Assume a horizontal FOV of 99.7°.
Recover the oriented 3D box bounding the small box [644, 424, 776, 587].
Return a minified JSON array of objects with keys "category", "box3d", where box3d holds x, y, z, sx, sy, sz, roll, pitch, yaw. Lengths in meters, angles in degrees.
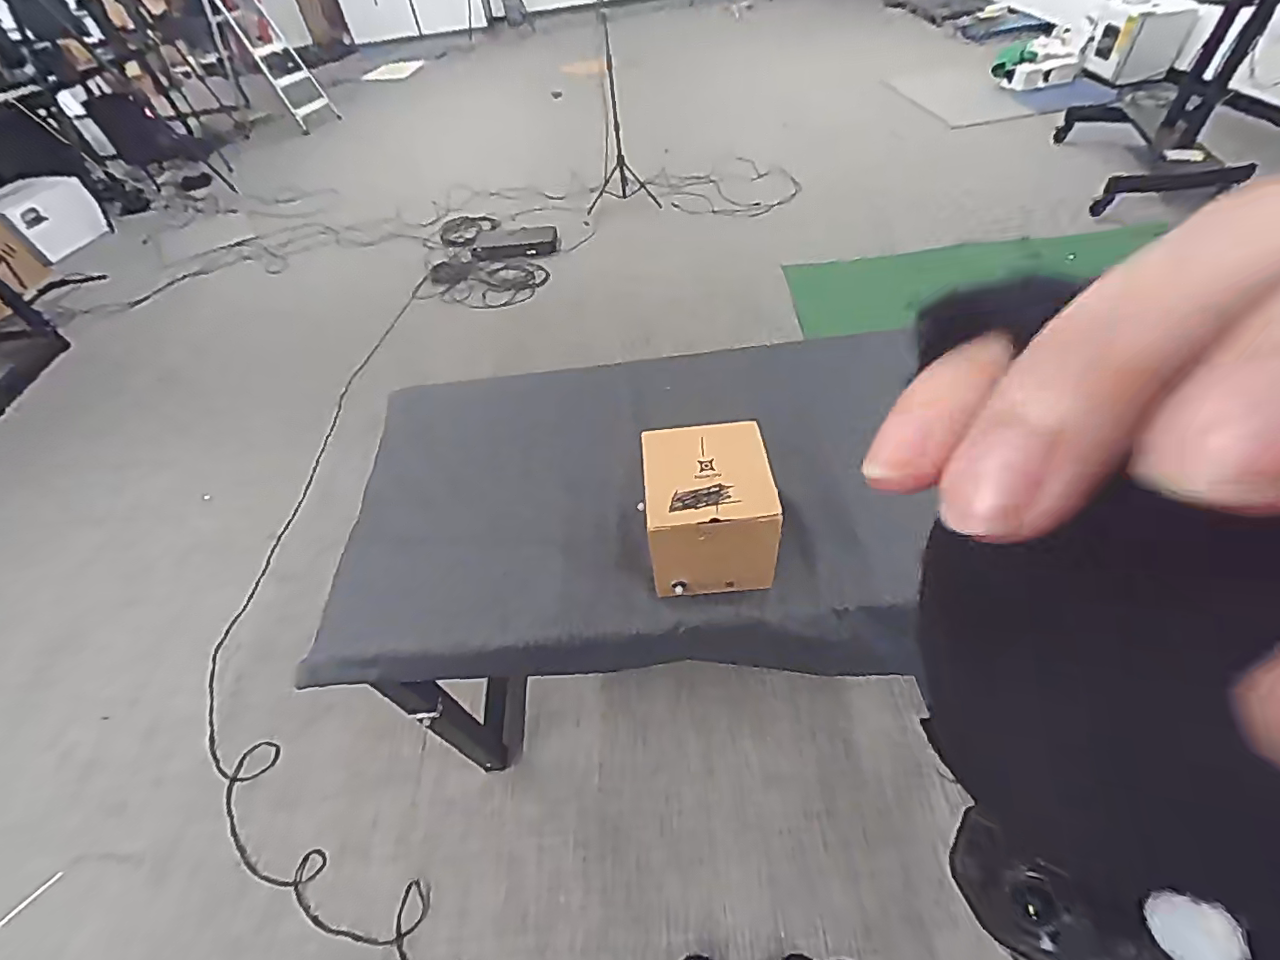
[{"category":"small box","box3d":[0.097,0.043,0.788,0.168,0.176,0.179,-5,47,3]}]
